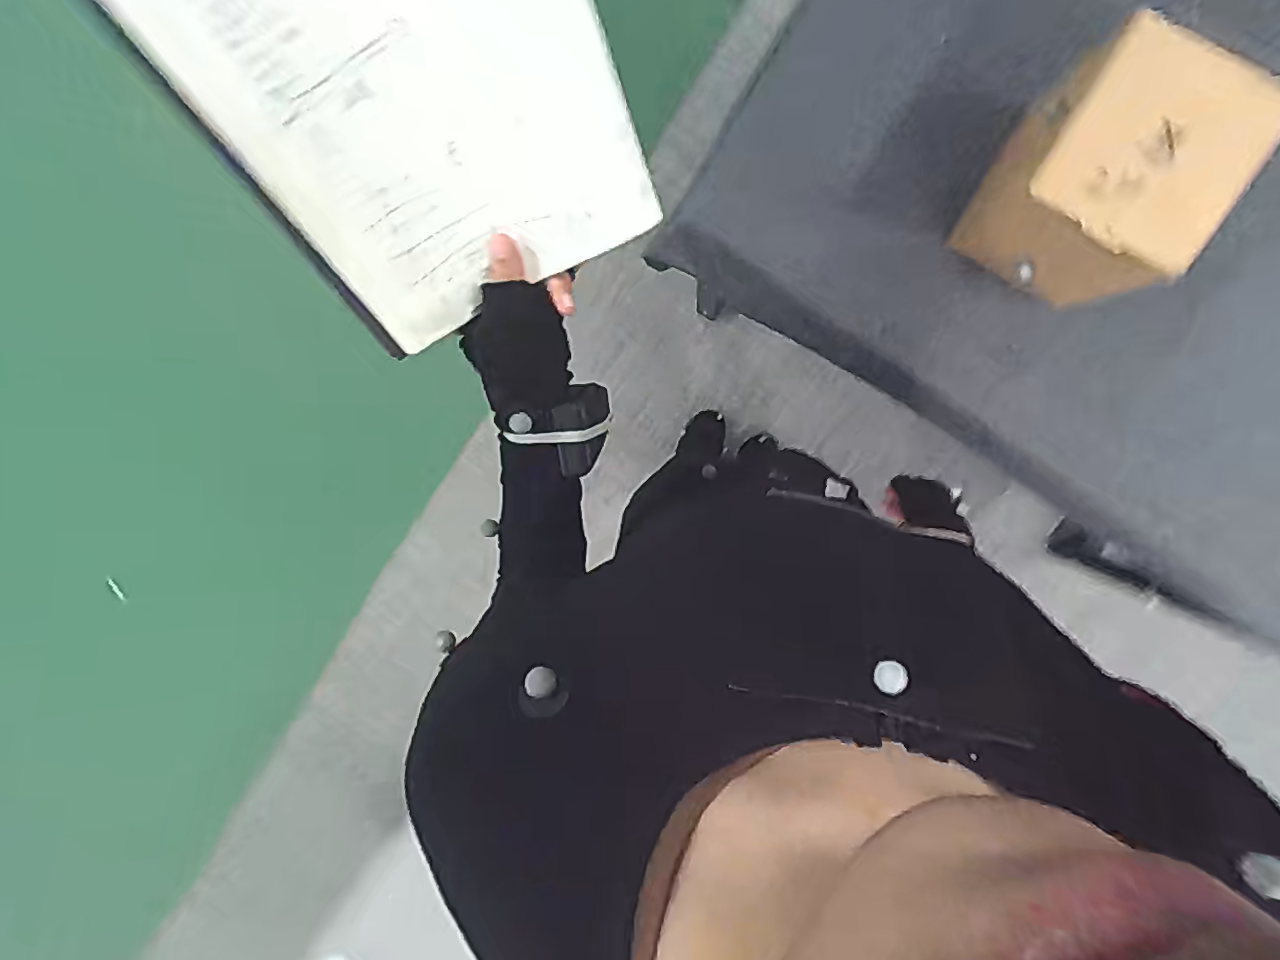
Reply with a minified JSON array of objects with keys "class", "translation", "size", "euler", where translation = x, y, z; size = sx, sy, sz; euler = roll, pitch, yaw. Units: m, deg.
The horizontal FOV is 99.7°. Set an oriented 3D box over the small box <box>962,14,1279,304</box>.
[{"class":"small box","translation":[0.492,-0.317,0.577],"size":[0.168,0.176,0.179],"euler":[31,99,1]}]
